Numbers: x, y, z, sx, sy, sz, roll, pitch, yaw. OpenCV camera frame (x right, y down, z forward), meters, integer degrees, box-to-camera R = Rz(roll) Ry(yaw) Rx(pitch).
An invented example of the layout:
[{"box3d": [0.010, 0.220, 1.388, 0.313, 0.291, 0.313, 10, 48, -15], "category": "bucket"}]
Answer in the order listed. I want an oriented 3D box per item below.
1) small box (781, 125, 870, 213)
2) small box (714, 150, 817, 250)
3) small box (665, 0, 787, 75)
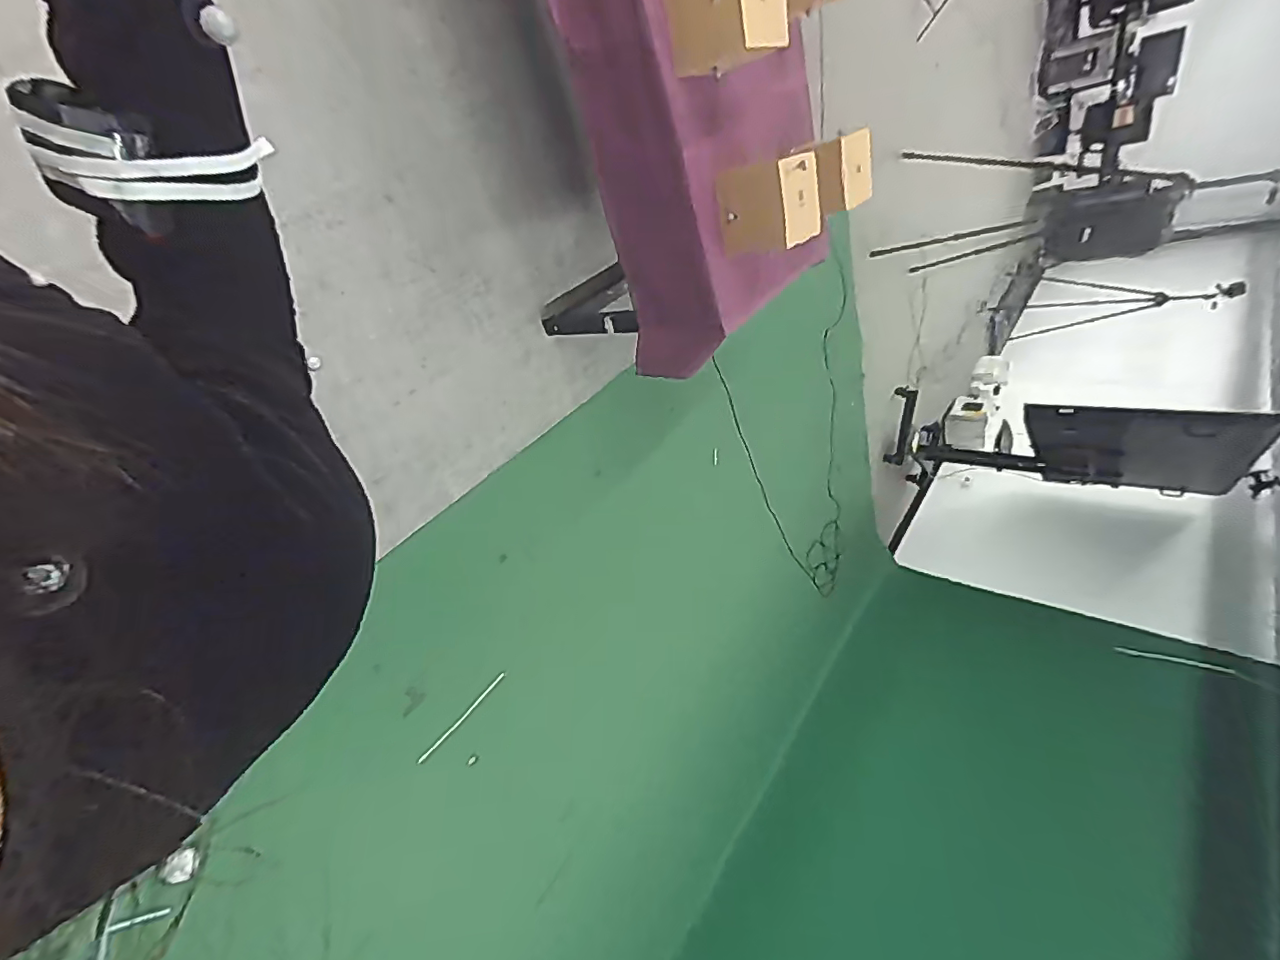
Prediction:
[{"box3d": [0.489, -0.813, 1.430, 0.179, 0.176, 0.168, -40, 126, -34], "category": "small box"}, {"box3d": [0.292, -0.643, 1.255, 0.168, 0.176, 0.179, -37, 126, -37], "category": "small box"}, {"box3d": [0.161, -0.916, 1.040, 0.168, 0.176, 0.179, -38, 127, -36], "category": "small box"}]
